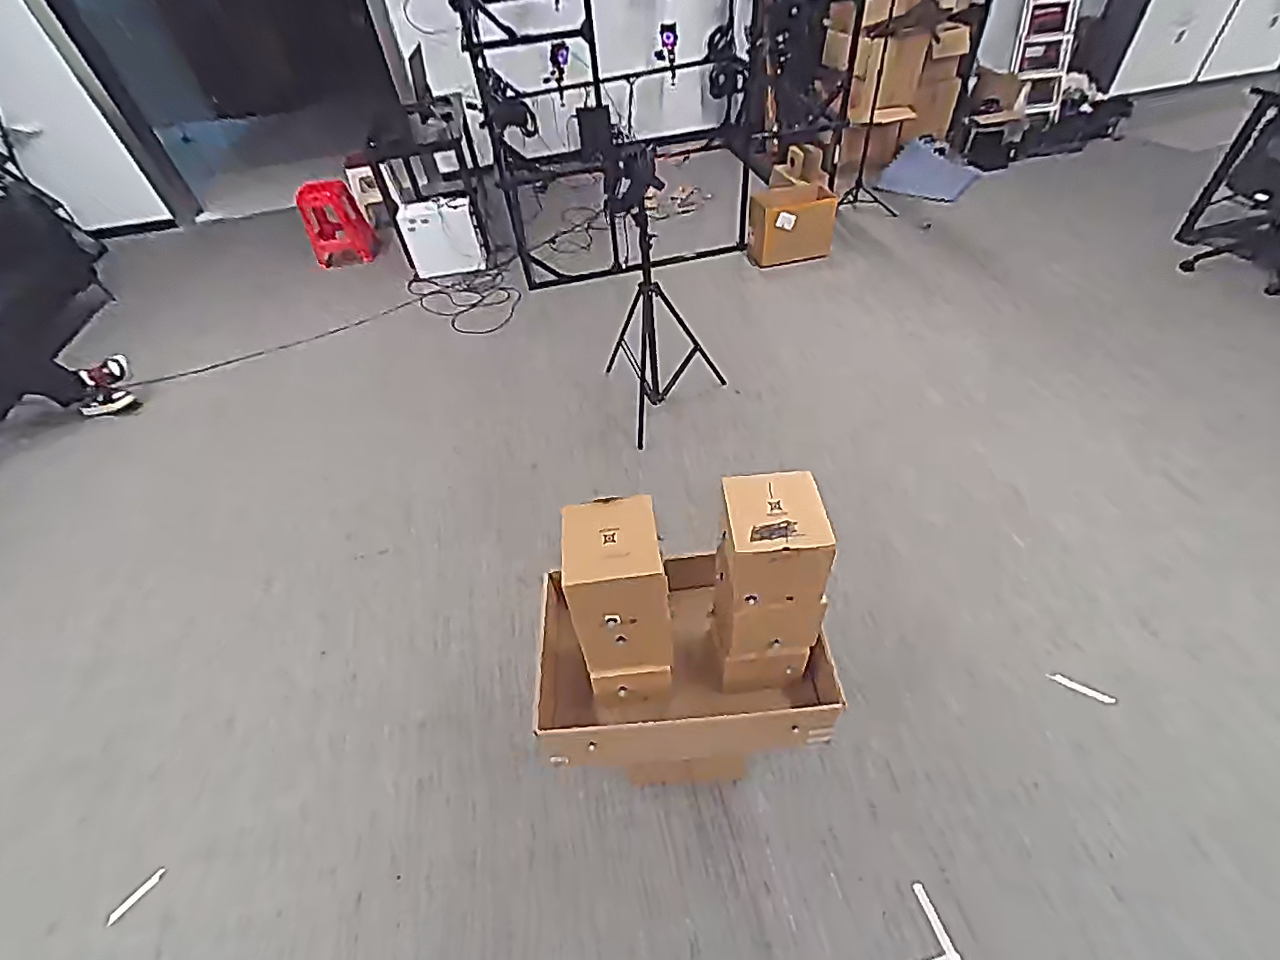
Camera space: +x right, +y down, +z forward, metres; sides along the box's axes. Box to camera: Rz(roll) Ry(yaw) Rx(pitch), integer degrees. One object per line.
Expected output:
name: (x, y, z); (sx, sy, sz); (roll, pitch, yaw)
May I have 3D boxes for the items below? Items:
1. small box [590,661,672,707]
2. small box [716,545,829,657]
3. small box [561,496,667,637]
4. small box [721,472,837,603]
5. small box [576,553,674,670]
small box: (-0.019, 0.387, 1.198); (0.168, 0.176, 0.179); (-6, 45, -1)
small box: (0.254, 0.235, 1.082); (0.179, 0.176, 0.168); (-8, 46, 0)
small box: (-0.045, 0.154, 0.968); (0.168, 0.176, 0.179); (-8, 45, 0)
small box: (0.239, 0.109, 0.973); (0.168, 0.176, 0.179); (-5, 45, 2)
small box: (-0.028, 0.267, 1.086); (0.179, 0.176, 0.168); (-5, 46, 0)
